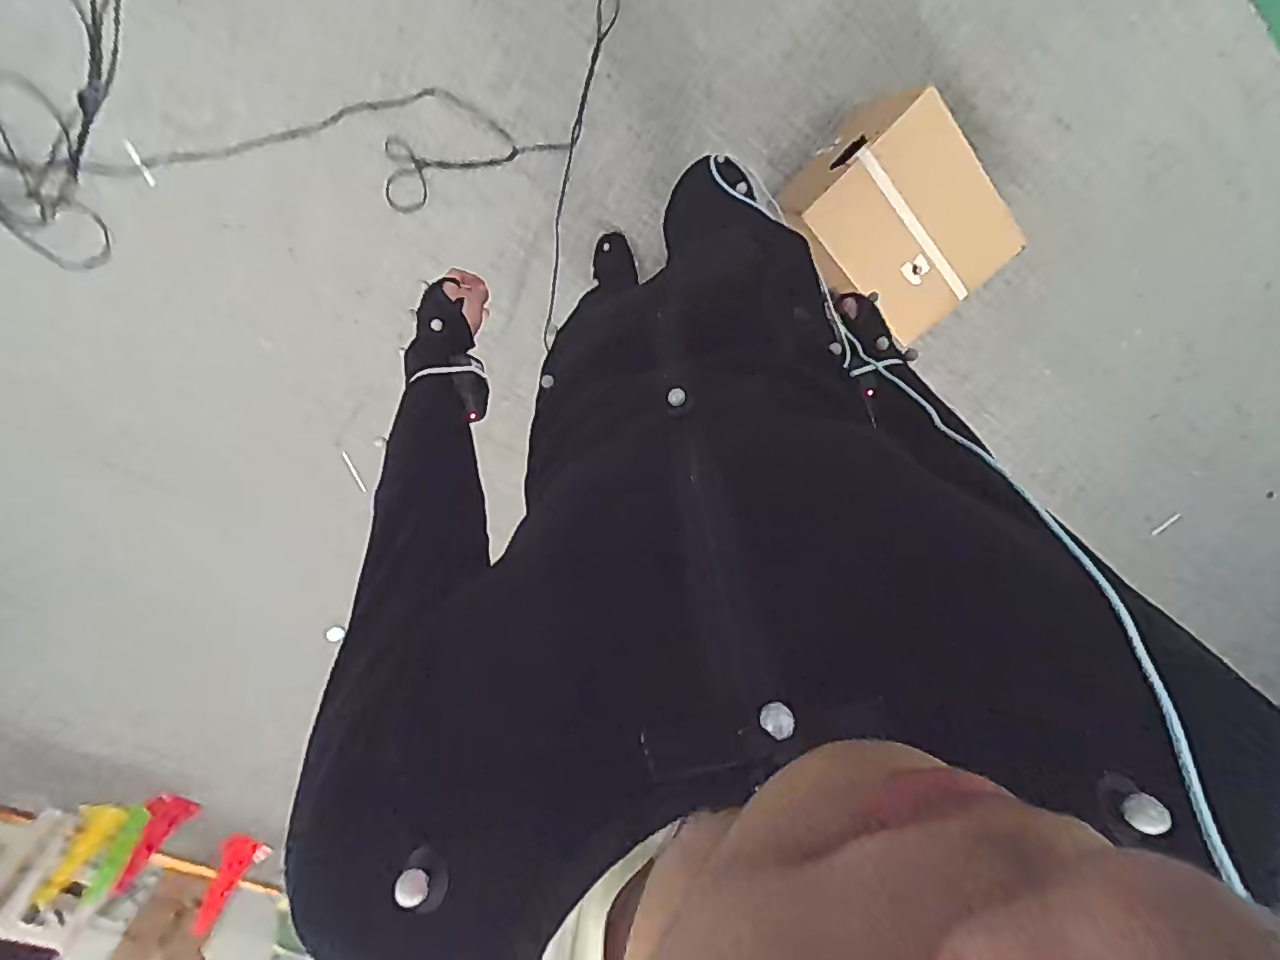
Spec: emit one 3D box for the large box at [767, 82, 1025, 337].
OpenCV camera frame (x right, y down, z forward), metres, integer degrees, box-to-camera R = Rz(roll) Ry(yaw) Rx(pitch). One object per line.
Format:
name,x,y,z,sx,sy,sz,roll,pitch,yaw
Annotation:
large box,0.568,-0.612,1.261,0.408,0.320,0.320,39,112,-22
